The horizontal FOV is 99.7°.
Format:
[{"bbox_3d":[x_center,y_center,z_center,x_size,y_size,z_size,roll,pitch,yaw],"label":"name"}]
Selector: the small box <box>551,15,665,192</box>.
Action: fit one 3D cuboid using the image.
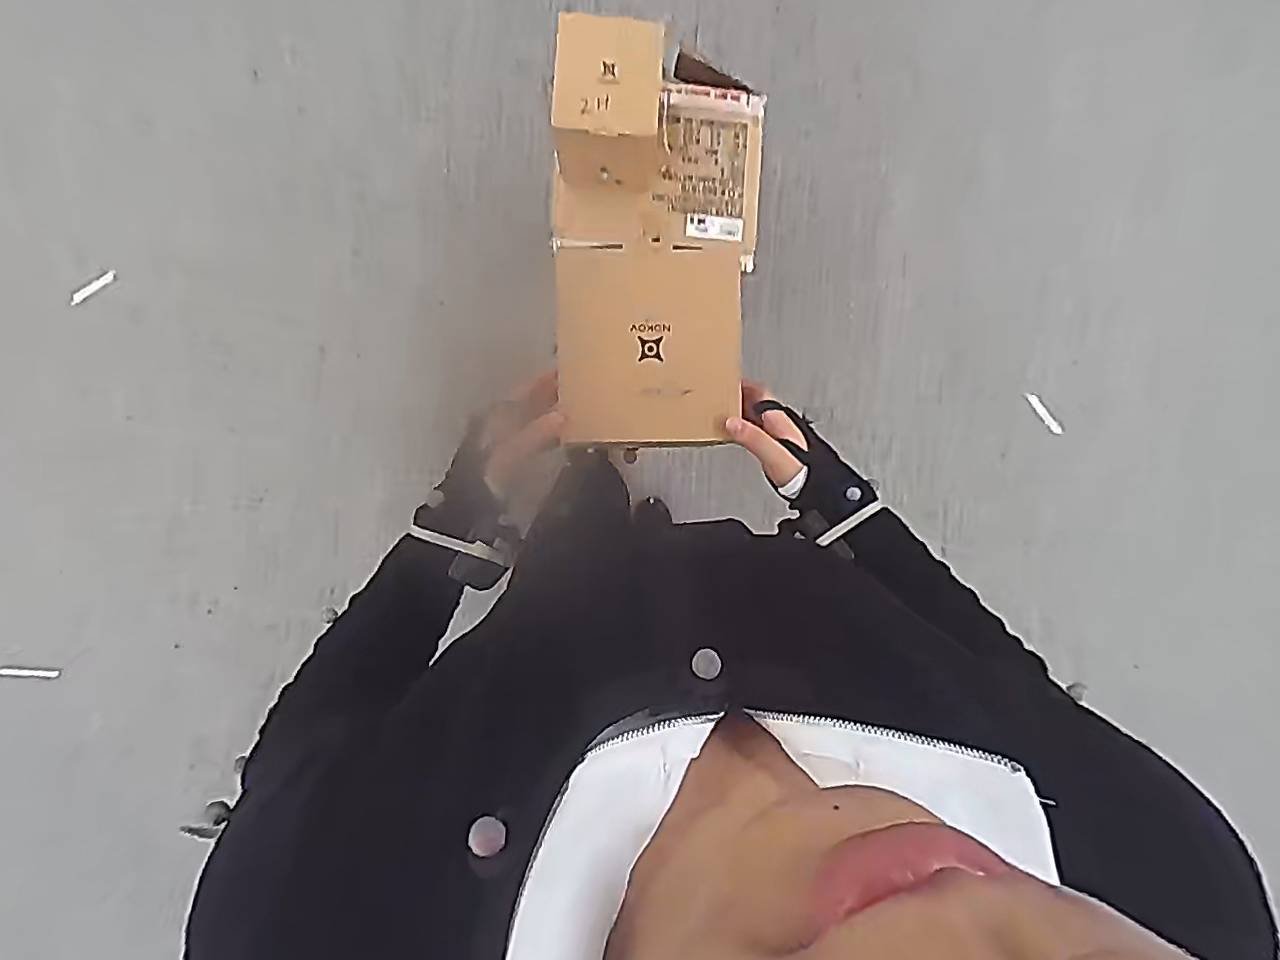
[{"bbox_3d":[-0.054,-0.624,0.916,0.168,0.176,0.179,5,92,-2],"label":"small box"}]
